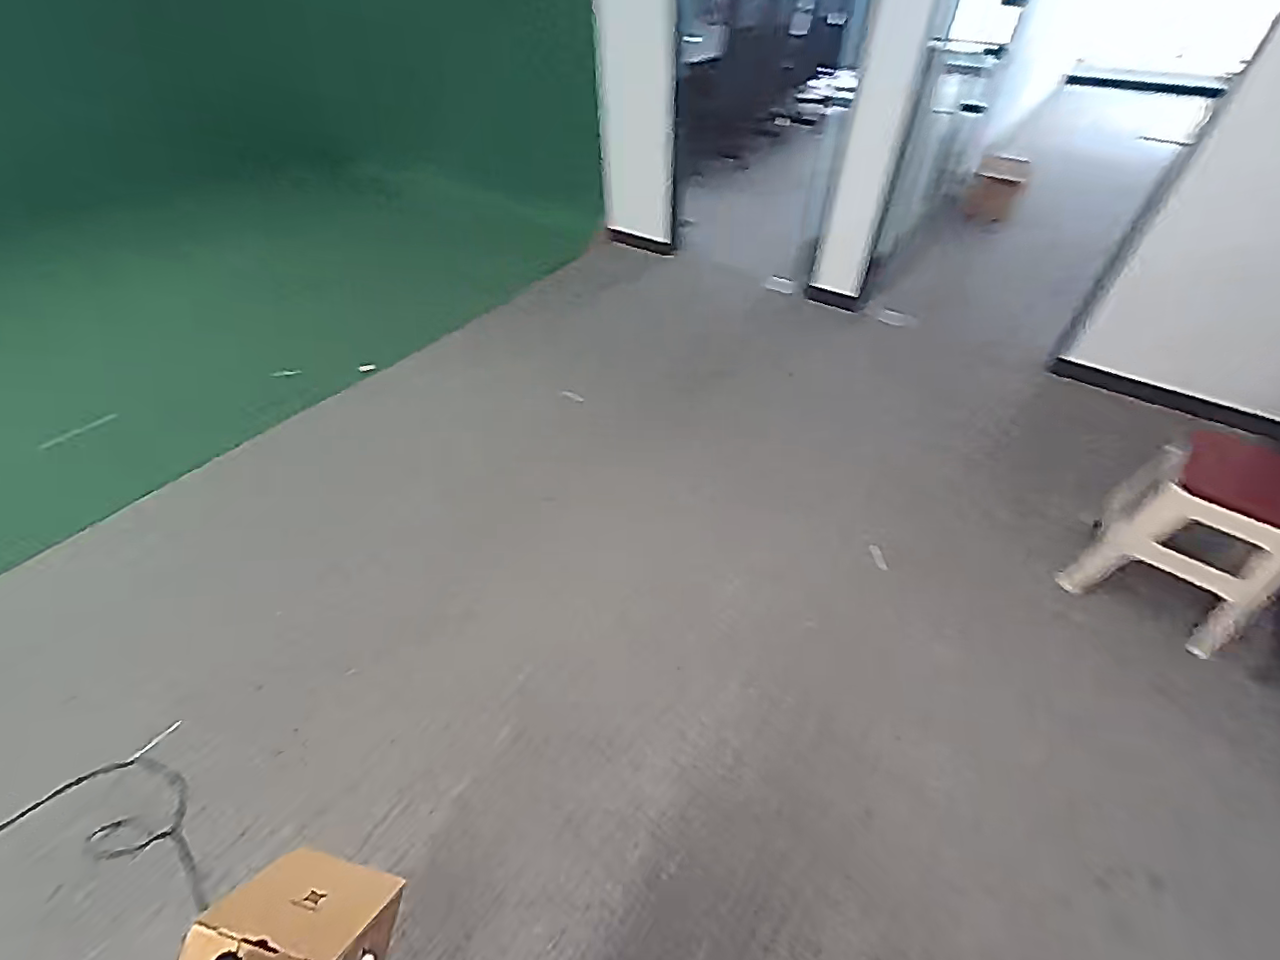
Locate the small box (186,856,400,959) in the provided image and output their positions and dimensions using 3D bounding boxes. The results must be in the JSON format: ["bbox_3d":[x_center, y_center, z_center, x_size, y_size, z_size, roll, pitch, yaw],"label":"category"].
[{"bbox_3d":[-0.426,0.601,0.645,0.168,0.179,0.176,12,81,5],"label":"small box"}]
